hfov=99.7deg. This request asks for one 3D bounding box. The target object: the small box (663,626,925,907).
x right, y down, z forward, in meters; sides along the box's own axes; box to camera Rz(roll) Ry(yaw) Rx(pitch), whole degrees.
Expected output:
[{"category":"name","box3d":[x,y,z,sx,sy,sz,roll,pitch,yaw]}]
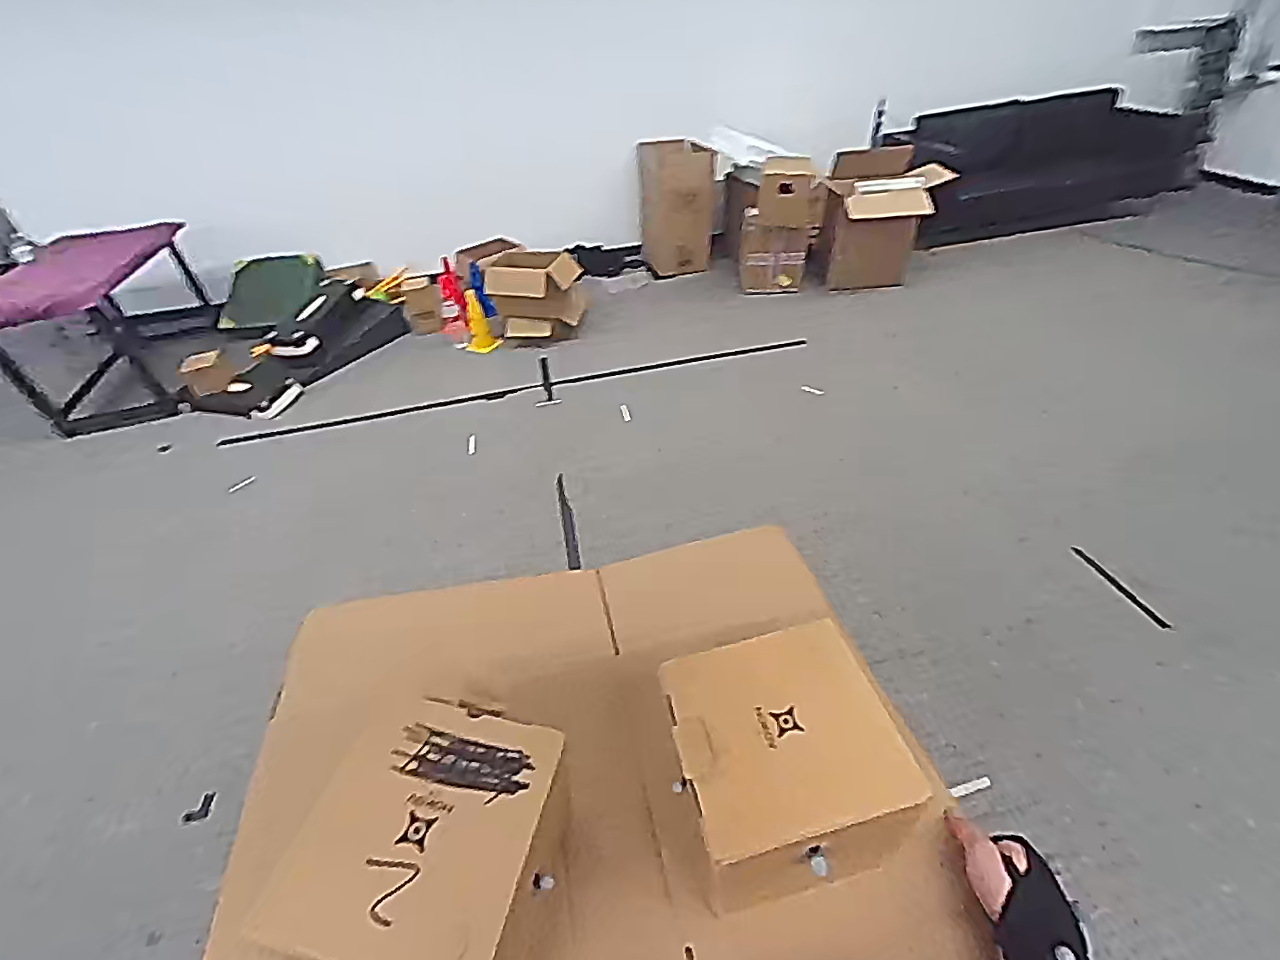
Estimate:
[{"category":"small box","box3d":[0.129,0.273,0.519,0.179,0.176,0.168,-14,41,-5]}]
